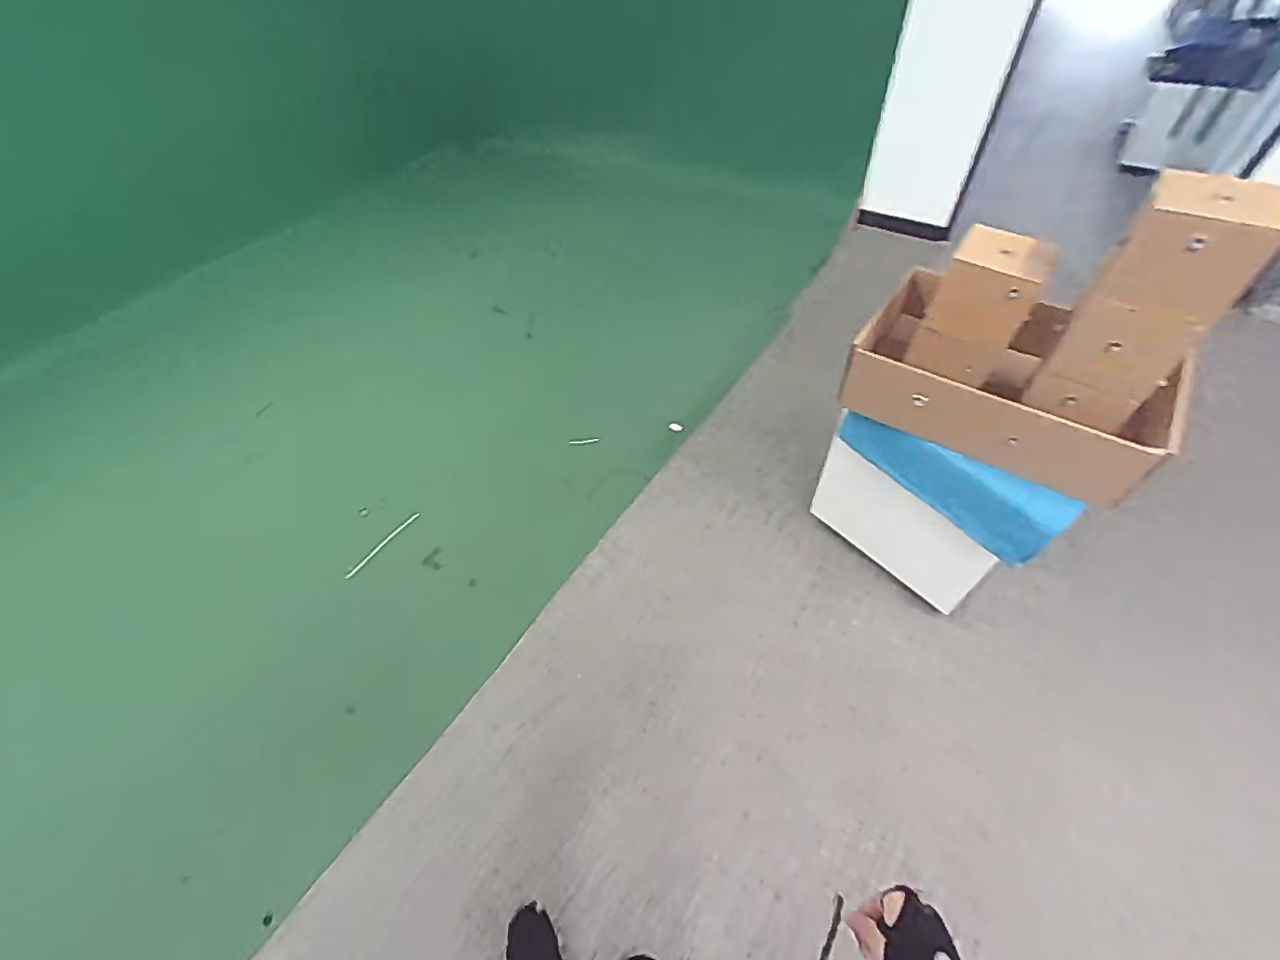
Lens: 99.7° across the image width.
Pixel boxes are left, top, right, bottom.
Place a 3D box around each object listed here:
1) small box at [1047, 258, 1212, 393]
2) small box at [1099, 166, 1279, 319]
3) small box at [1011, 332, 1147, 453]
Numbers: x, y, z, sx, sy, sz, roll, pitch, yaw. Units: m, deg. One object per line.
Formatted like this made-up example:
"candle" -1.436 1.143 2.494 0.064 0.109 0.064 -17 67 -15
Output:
"small box" 0.930 -0.290 1.032 0.179 0.176 0.168 27 57 25
"small box" 0.925 -0.397 0.909 0.179 0.176 0.168 28 58 24
"small box" 0.939 -0.186 1.158 0.179 0.176 0.168 28 58 25
